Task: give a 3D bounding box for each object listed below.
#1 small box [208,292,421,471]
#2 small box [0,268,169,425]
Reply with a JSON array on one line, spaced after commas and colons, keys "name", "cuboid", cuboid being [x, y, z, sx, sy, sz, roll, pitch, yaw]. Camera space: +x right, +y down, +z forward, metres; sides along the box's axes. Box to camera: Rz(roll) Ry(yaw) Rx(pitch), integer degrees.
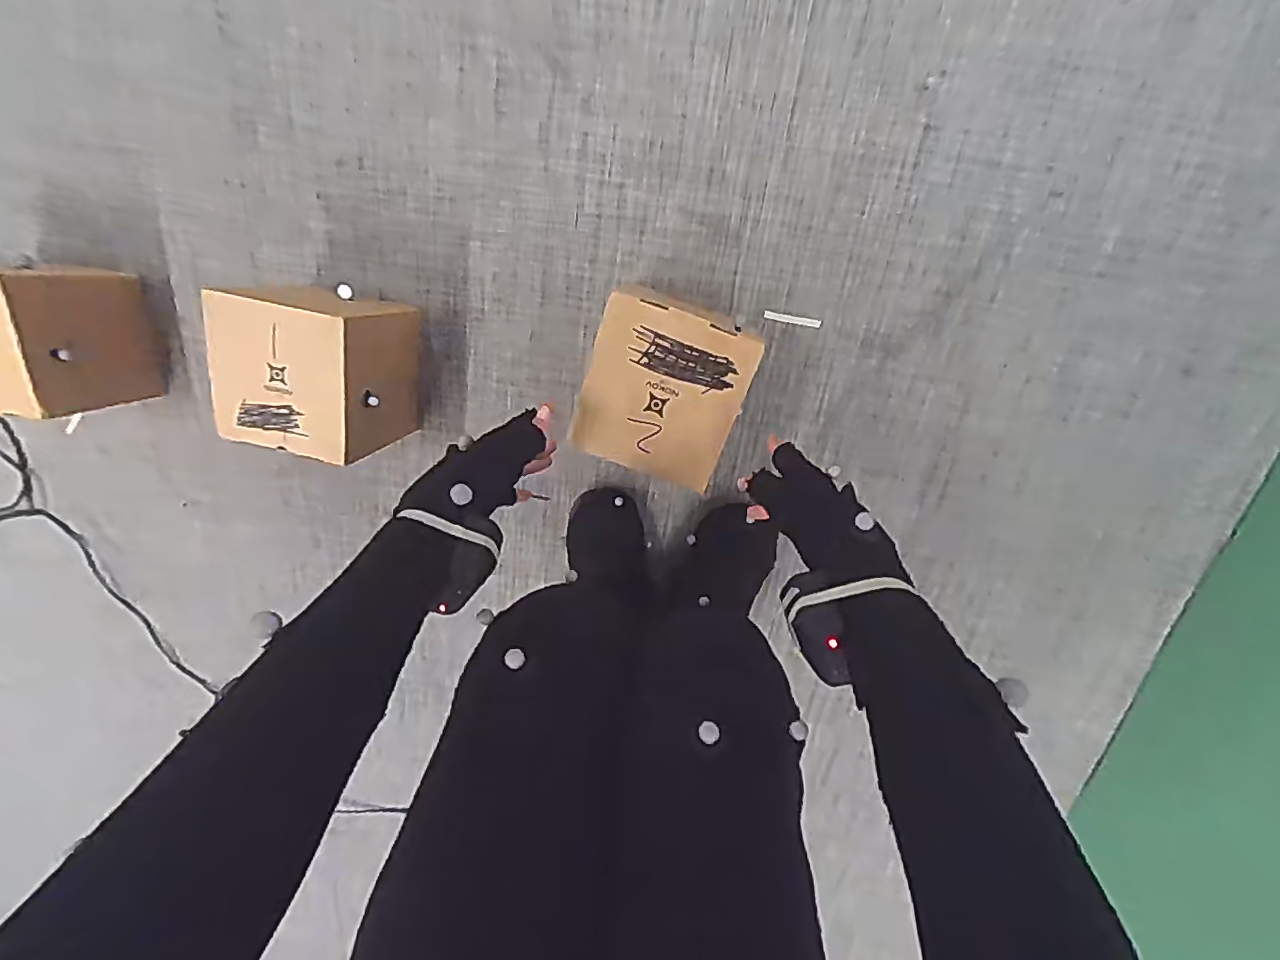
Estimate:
[{"name": "small box", "cuboid": [-0.399, -0.134, 0.692, 0.168, 0.176, 0.179, 13, 111, 3]}, {"name": "small box", "cuboid": [-0.797, -0.187, 0.728, 0.168, 0.176, 0.179, 8, 112, 5]}]
